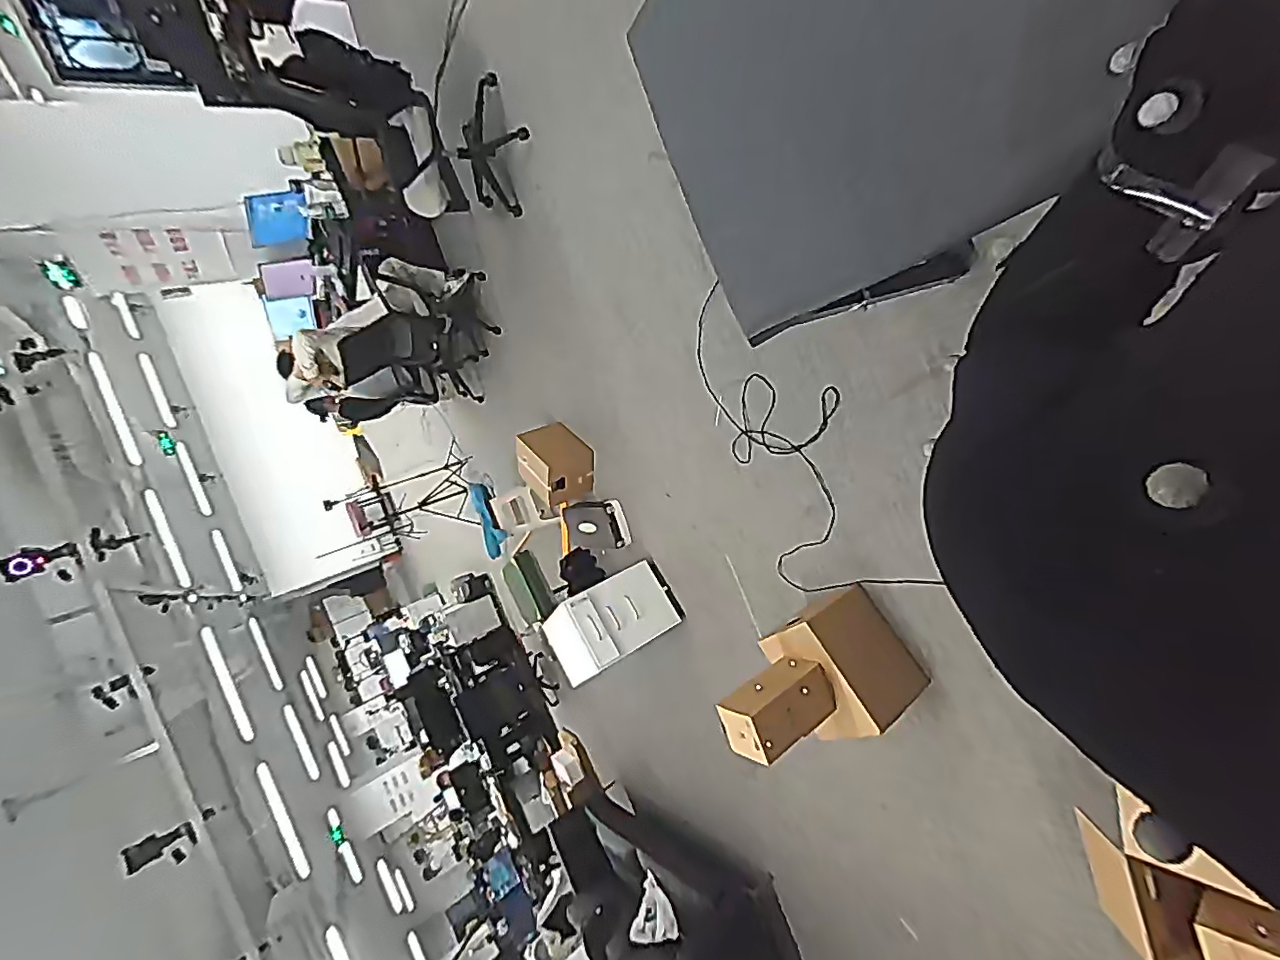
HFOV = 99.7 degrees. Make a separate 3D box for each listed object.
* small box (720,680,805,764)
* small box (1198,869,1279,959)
[{"bbox_3d":[0.395,0.770,1.744,0.179,0.176,0.168,-17,95,60],"label":"small box"},{"bbox_3d":[1.264,0.924,1.067,0.179,0.176,0.168,-17,93,59],"label":"small box"}]
